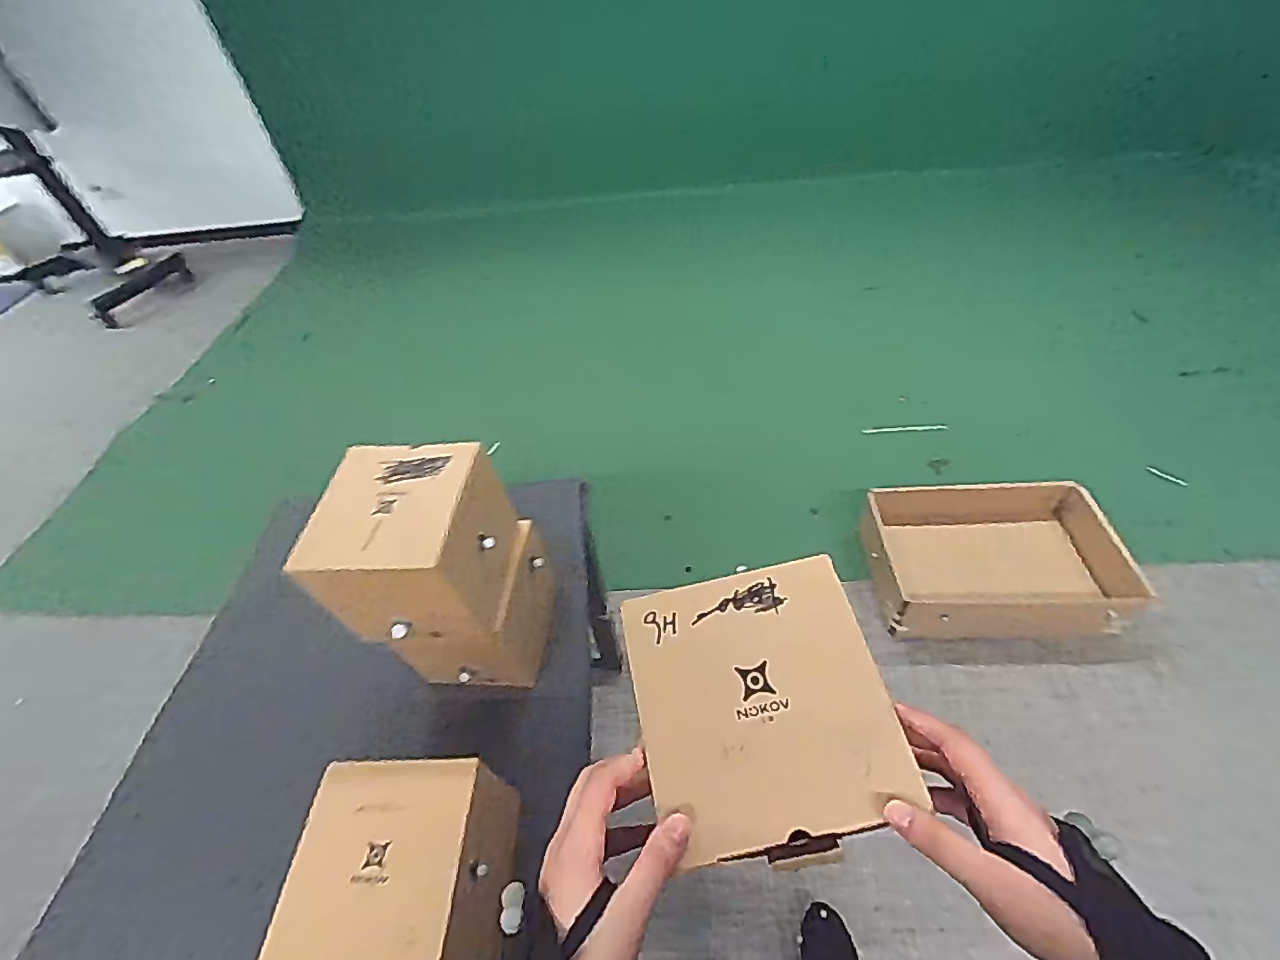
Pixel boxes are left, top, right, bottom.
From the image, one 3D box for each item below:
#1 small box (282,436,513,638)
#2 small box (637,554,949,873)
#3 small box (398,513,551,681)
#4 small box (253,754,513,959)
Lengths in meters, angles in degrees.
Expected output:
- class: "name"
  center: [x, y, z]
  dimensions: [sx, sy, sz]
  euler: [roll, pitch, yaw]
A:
- class: "small box"
  center: [-0.261, 0.067, 0.637]
  dimensions: [0.168, 0.176, 0.179]
  euler: [-1, 50, 7]
- class: "small box"
  center: [0.100, 0.183, 0.428]
  dimensions: [0.168, 0.176, 0.179]
  euler: [-12, 58, 1]
- class: "small box"
  center: [-0.232, 0.164, 0.767]
  dimensions: [0.168, 0.176, 0.179]
  euler: [-1, 49, 8]
- class: "small box"
  center: [-0.241, 0.403, 0.560]
  dimensions: [0.168, 0.176, 0.179]
  euler: [-4, 47, 3]
